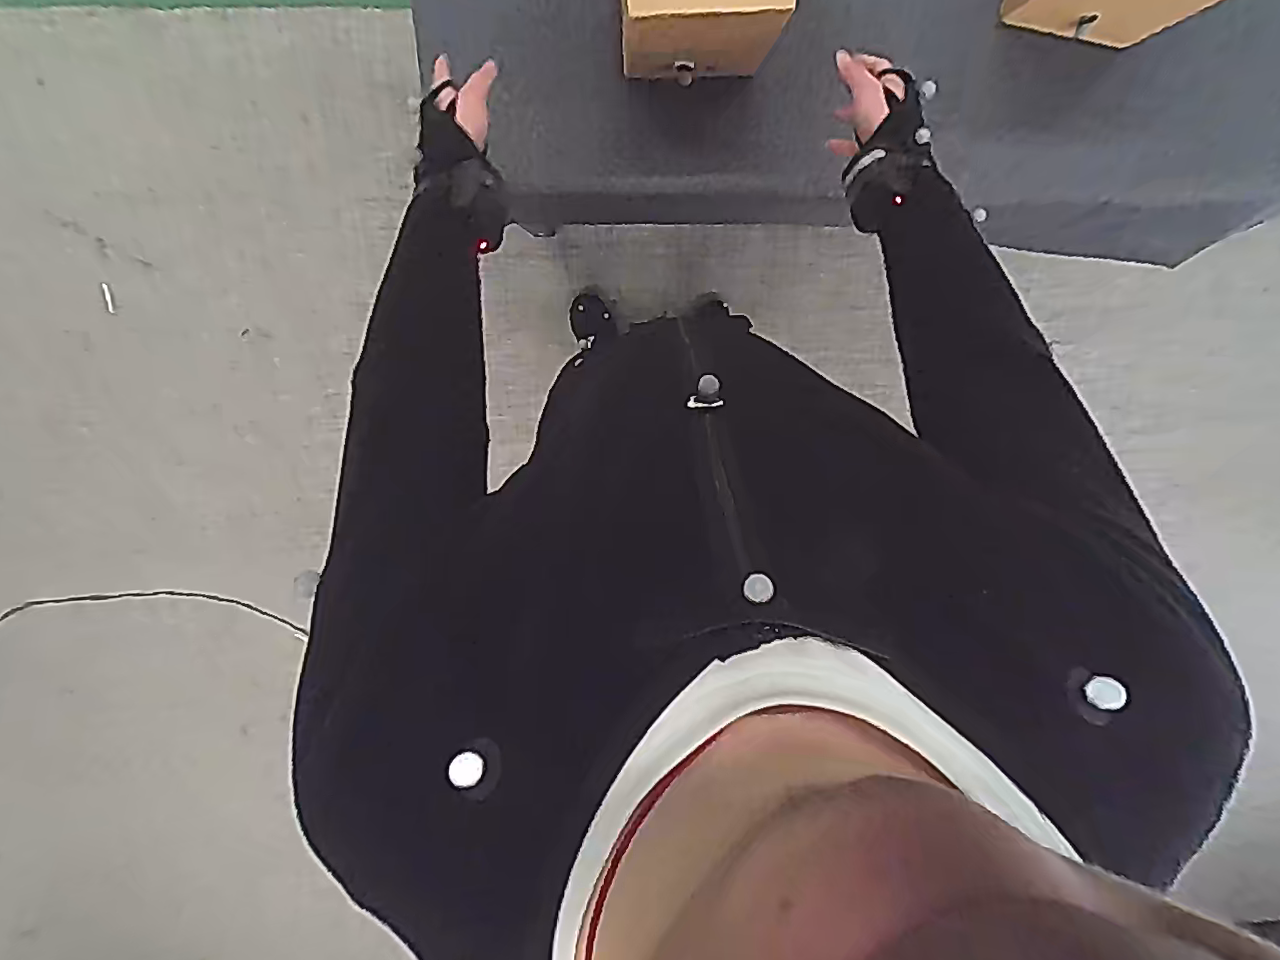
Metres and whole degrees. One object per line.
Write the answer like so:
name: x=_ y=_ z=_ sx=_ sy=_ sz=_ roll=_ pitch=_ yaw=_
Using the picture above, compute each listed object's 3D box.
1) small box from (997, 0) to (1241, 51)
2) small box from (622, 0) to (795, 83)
small box: x=0.543 y=-0.602 z=0.583 sx=0.179 sy=0.176 sz=0.168 roll=7 pitch=108 yaw=-6
small box: x=0.064 y=-0.548 z=0.562 sx=0.168 sy=0.176 sz=0.179 roll=-1 pitch=109 yaw=0
